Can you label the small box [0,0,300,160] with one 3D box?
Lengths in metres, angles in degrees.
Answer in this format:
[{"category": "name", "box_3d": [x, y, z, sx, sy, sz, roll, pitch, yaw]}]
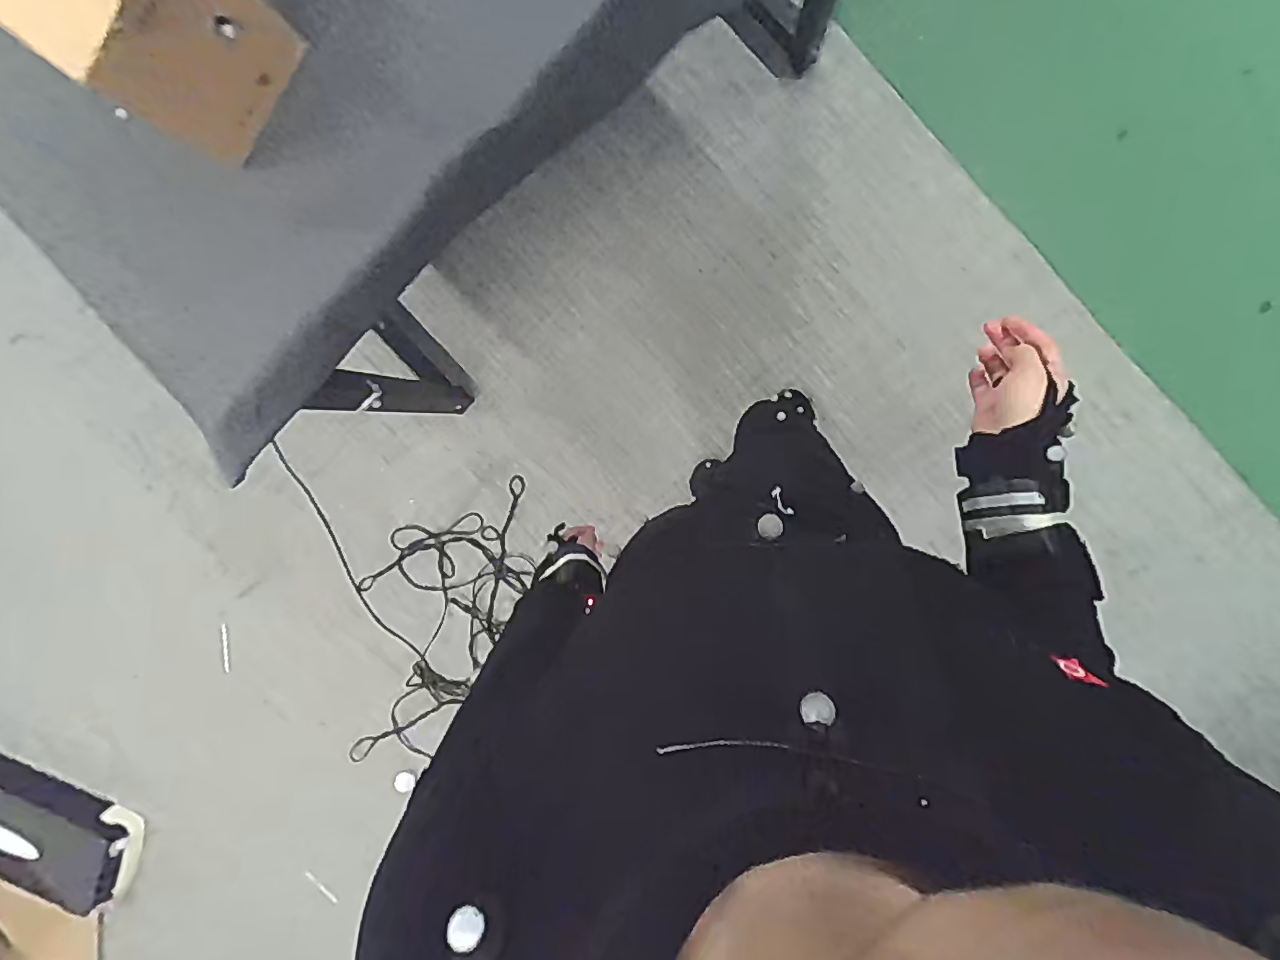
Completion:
[{"category": "small box", "box_3d": [-0.495, -0.463, 0.541, 0.179, 0.176, 0.168, 36, 96, 2]}]
